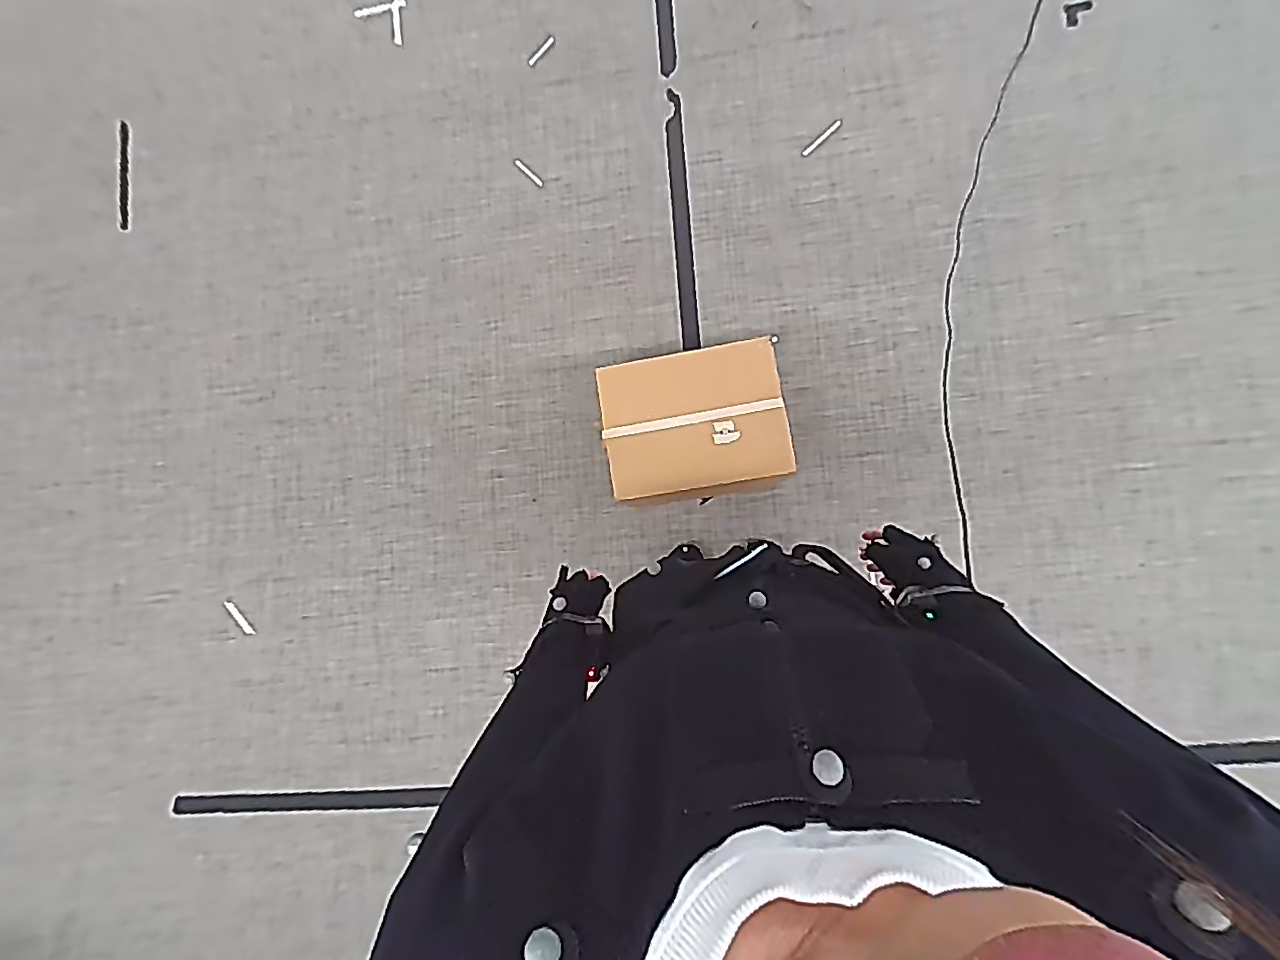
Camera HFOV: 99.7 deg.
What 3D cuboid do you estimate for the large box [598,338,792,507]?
[{"bbox_3d":[0.135,-0.122,1.370,0.408,0.320,0.320,-9,83,6],"label":"large box"}]
